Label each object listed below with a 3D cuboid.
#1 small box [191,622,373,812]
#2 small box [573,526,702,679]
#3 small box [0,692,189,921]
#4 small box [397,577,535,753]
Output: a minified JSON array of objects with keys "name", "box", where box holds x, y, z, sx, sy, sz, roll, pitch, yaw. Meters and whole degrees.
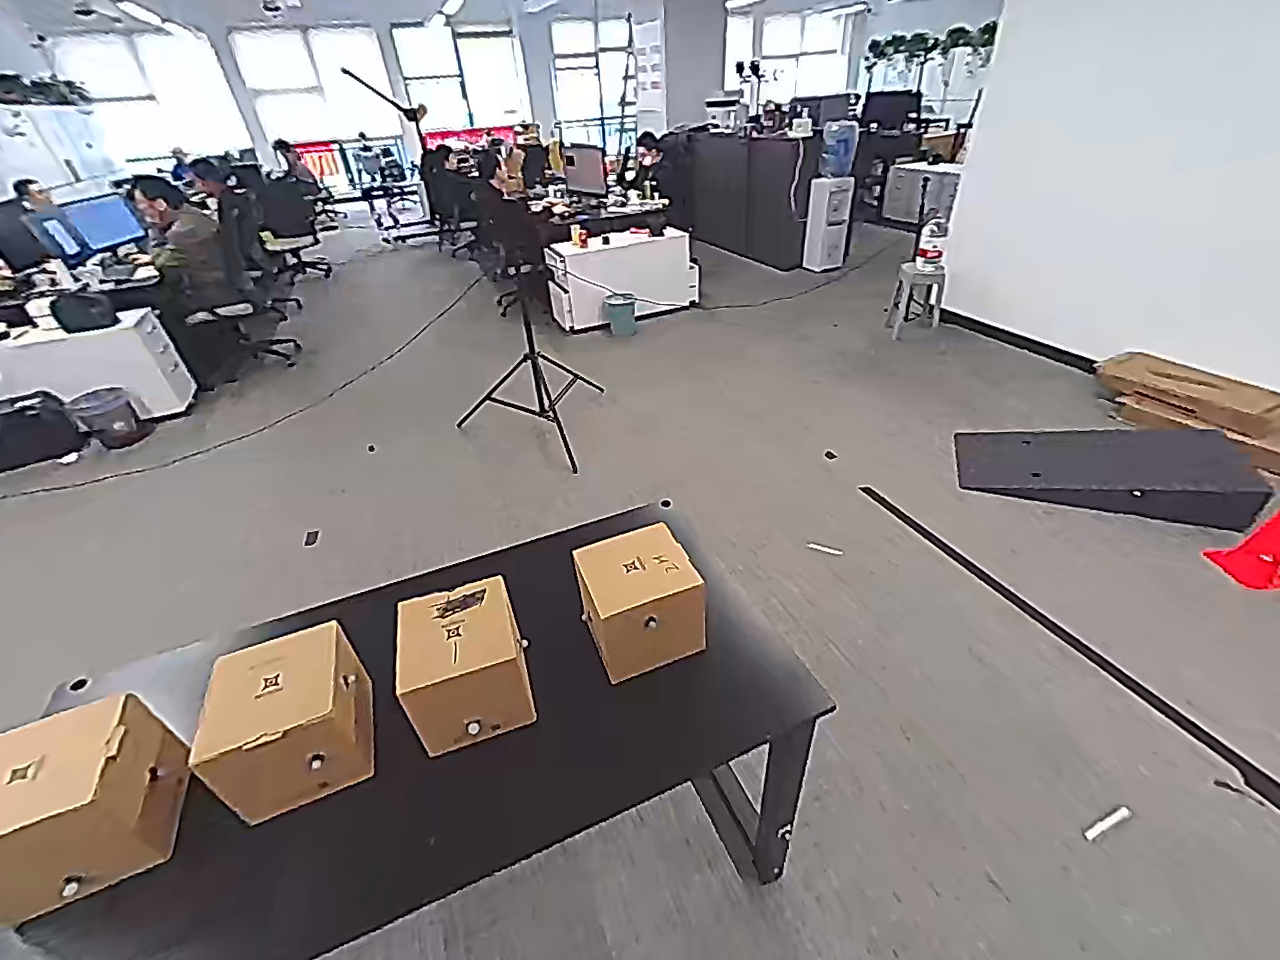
[{"name":"small box","box":[-0.506,0.350,0.794,0.168,0.176,0.179,-16,36,-18]},{"name":"small box","box":[-0.002,0.212,0.936,0.179,0.176,0.168,-15,37,-15]},{"name":"small box","box":[-0.743,0.423,0.710,0.179,0.176,0.168,-17,37,-19]},{"name":"small box","box":[-0.271,0.289,0.855,0.168,0.176,0.179,-14,37,-14]}]
